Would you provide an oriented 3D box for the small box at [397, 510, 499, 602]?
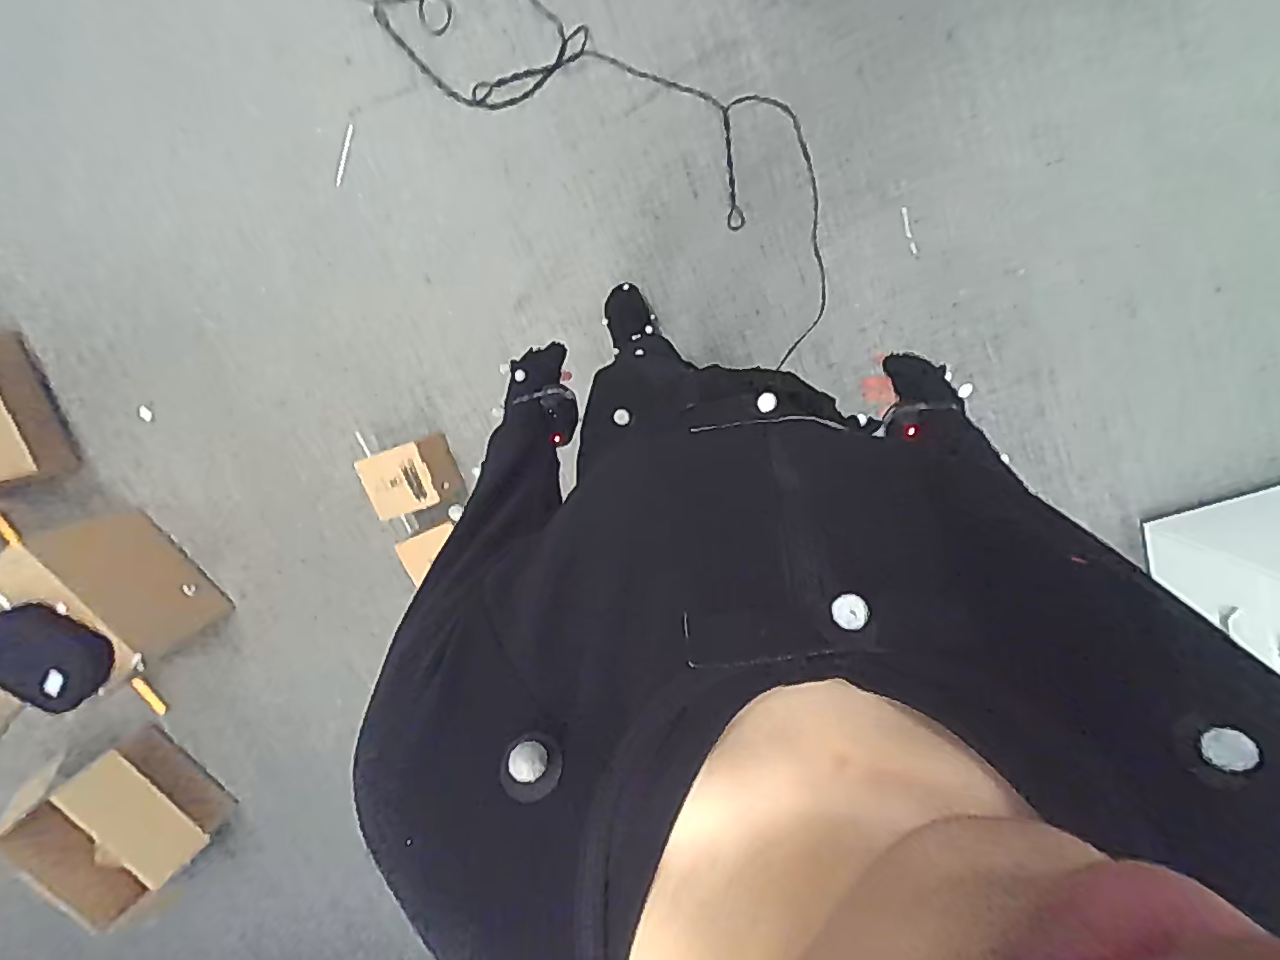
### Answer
[{"bbox_3d":[-0.517,0.201,1.477,0.179,0.176,0.168,-23,101,8],"label":"small box"}]
